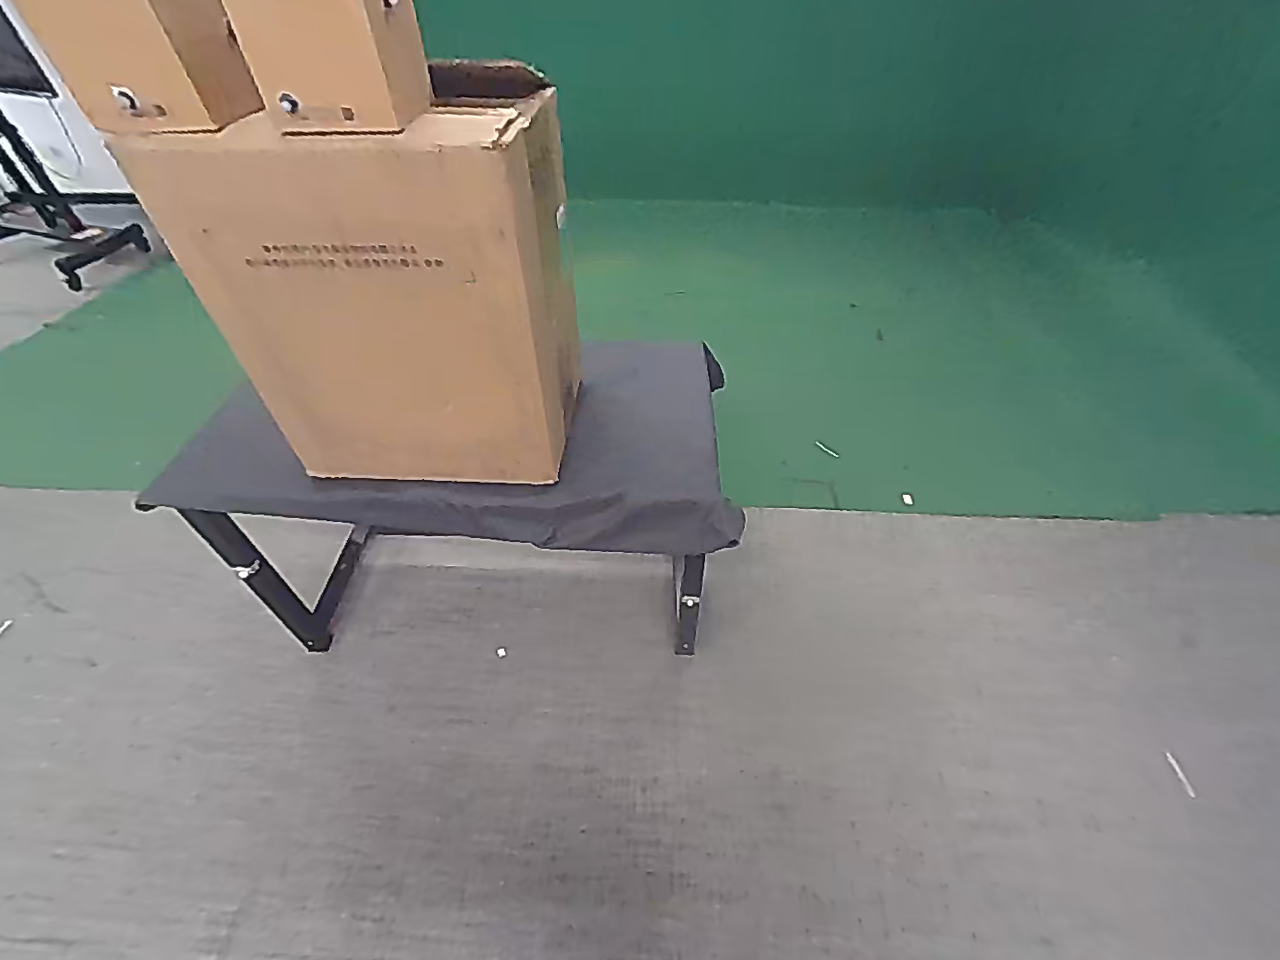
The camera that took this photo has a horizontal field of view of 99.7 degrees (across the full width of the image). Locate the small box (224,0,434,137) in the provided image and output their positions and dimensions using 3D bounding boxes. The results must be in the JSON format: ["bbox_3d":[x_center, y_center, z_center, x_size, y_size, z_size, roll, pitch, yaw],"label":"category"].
[{"bbox_3d":[-0.390,-0.567,0.712,0.168,0.176,0.179,0,45,1],"label":"small box"}]

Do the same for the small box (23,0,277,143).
[{"bbox_3d":[-0.637,-0.573,0.729,0.168,0.176,0.179,-2,47,3],"label":"small box"}]
